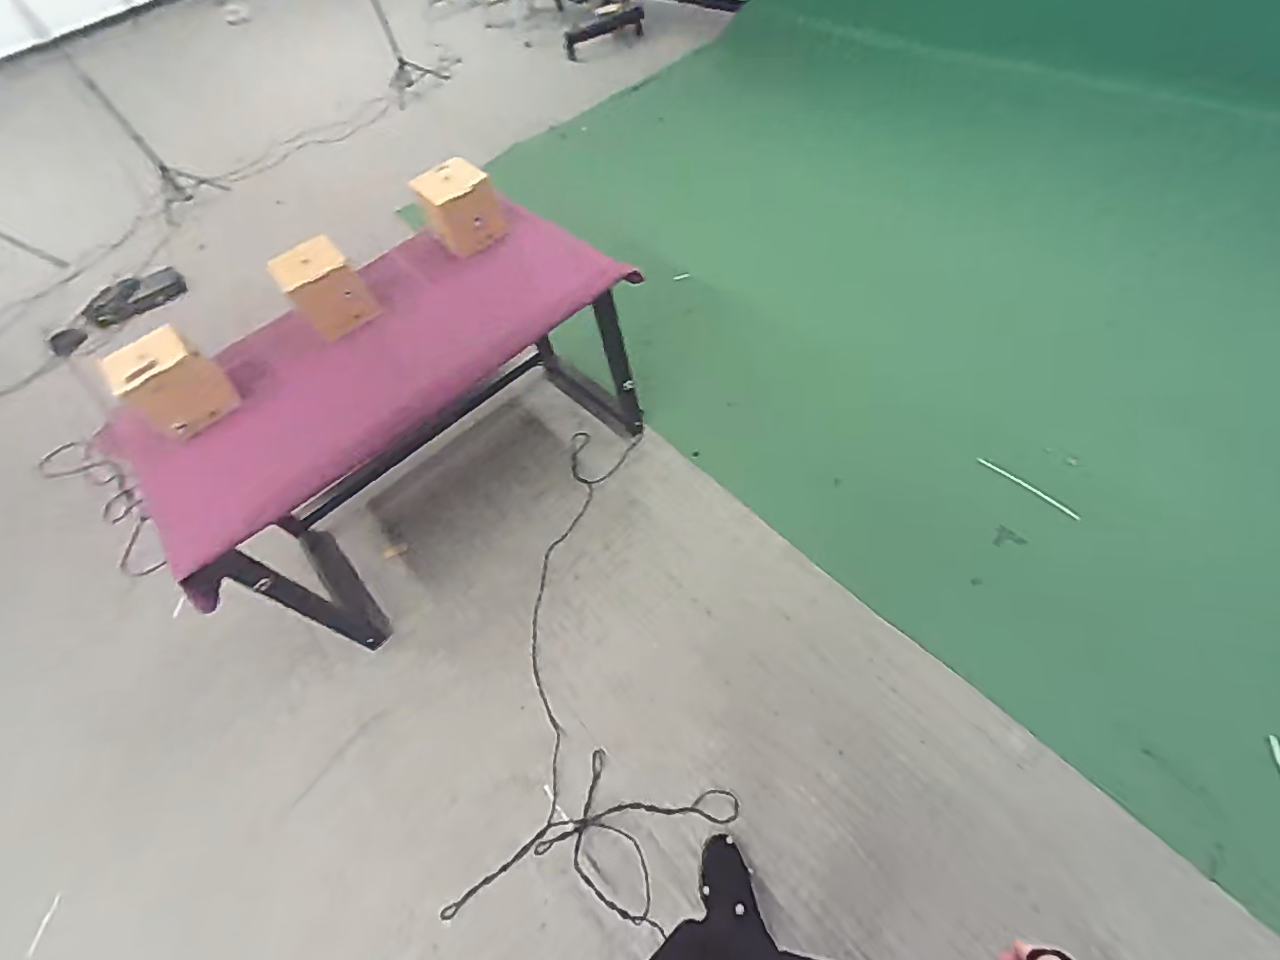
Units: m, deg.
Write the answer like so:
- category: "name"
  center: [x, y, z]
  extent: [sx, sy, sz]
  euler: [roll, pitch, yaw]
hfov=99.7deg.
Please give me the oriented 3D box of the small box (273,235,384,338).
- category: "small box"
  center: [-0.810, -0.500, 1.420]
  extent: [0.168, 0.176, 0.179]
  euler: [-36, 59, -15]

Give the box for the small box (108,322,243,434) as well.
- category: "small box"
  center: [-1.100, -0.236, 1.292]
  extent: [0.168, 0.176, 0.179]
  euler: [-39, 59, -17]

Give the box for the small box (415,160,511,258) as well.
- category: "small box"
  center: [-0.495, -0.763, 1.536]
  extent: [0.168, 0.176, 0.179]
  euler: [-38, 62, -15]
